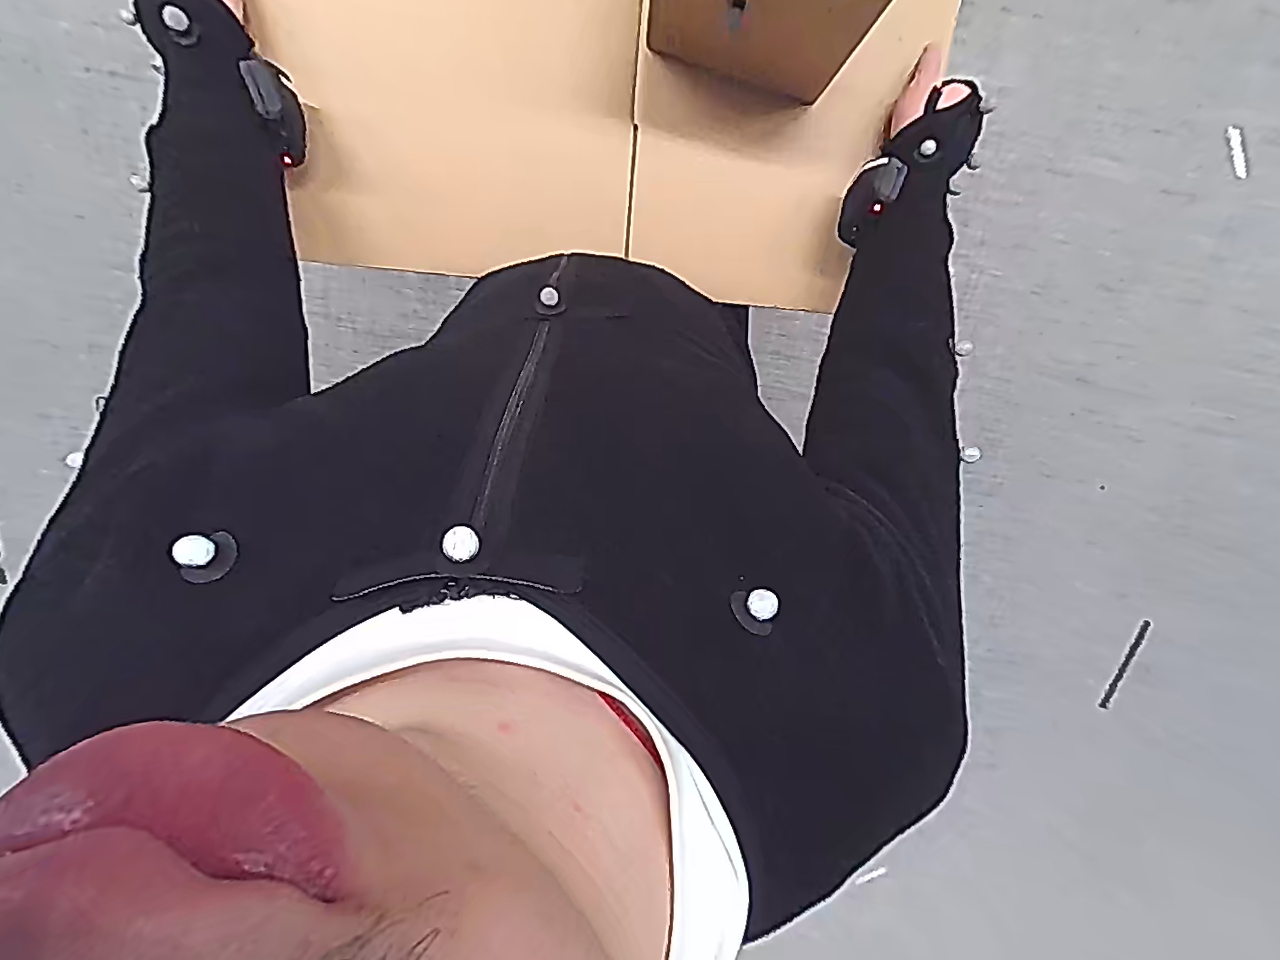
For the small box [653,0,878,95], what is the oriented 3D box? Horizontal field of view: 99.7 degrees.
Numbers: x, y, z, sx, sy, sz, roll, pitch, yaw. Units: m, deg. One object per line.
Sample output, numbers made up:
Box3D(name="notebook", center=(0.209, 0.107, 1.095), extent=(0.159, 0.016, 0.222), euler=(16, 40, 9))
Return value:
Box3D(name="small box", center=(0.113, -0.452, 0.434), extent=(0.179, 0.176, 0.168), euler=(15, 103, -4))
